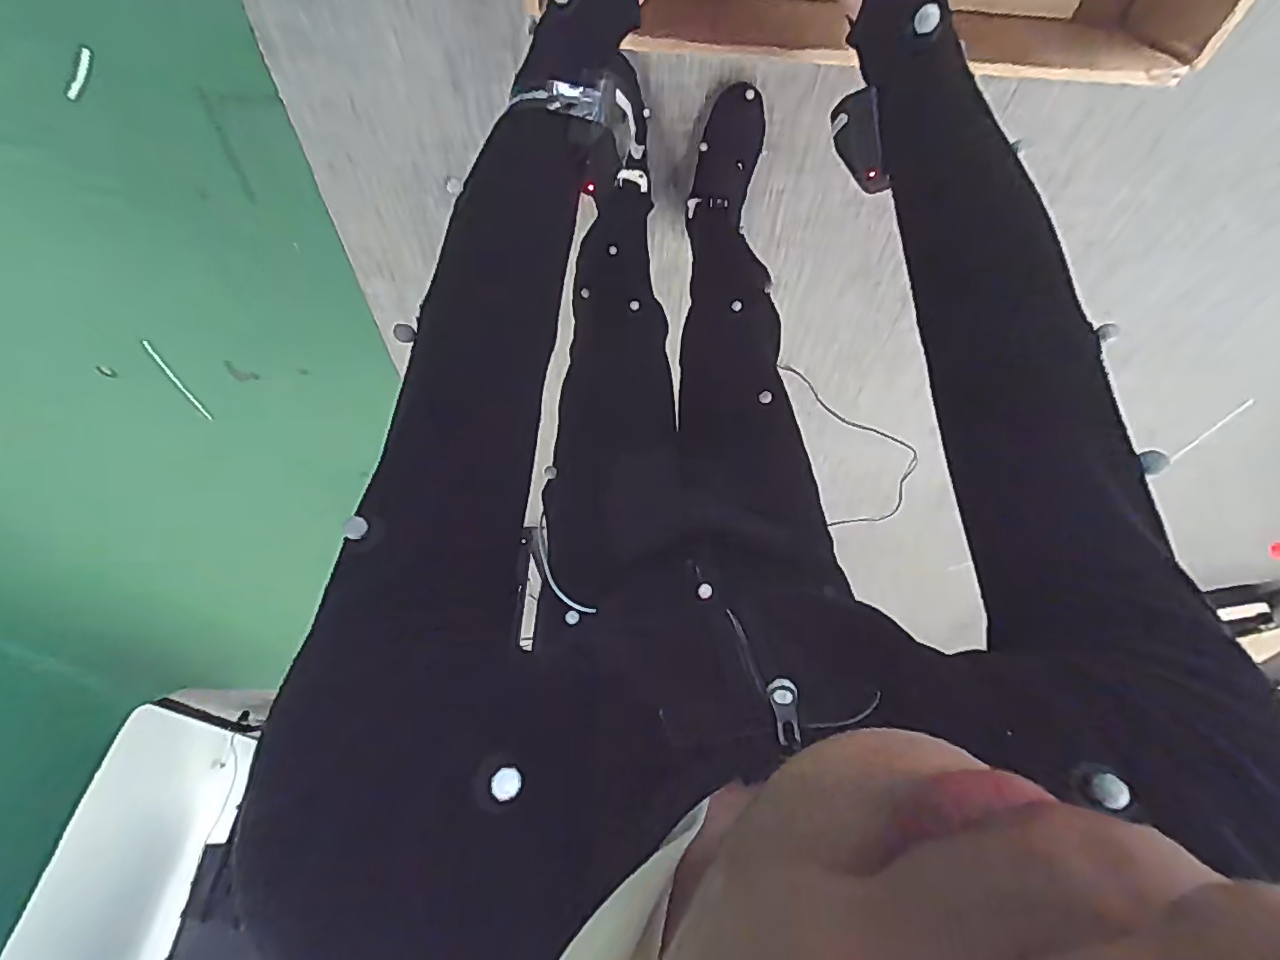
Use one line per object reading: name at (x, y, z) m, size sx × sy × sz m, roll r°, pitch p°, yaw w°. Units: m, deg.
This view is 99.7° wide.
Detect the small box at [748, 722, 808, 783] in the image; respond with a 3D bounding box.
small box at (0.486, 0.974, 1.929) m, size 0.168 × 0.176 × 0.179 m, roll 0°, pitch 144°, yaw 1°
